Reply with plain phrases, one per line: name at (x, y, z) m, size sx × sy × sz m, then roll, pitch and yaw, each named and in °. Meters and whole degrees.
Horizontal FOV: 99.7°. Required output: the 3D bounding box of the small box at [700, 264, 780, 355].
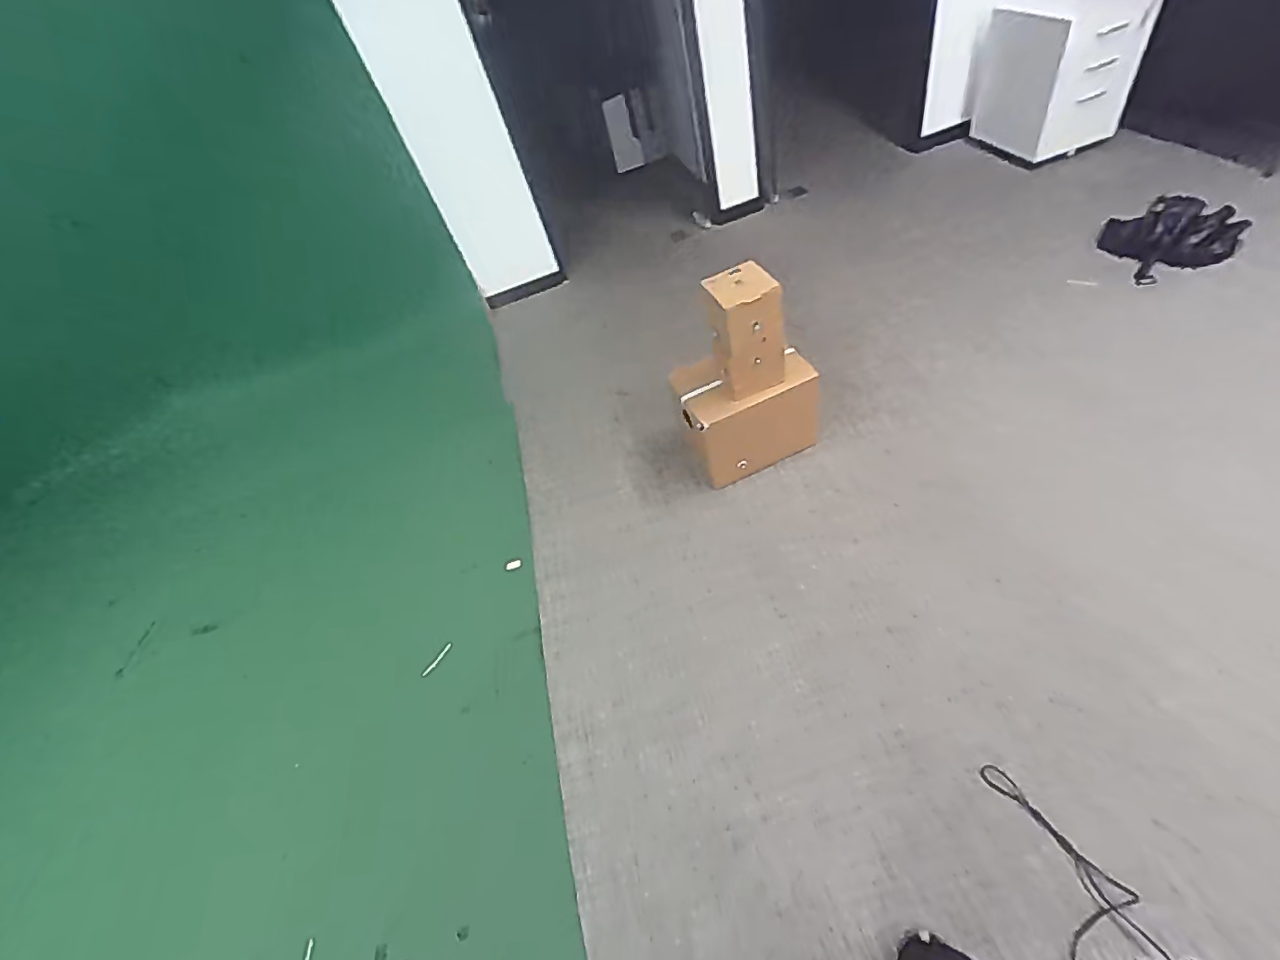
small box at (0.290, -0.480, 1.553) m, size 0.168 × 0.176 × 0.179 m, roll -23°, pitch 49°, yaw -2°

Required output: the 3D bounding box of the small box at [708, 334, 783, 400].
small box at (0.329, -0.374, 1.671) m, size 0.179 × 0.176 × 0.168 m, roll -22°, pitch 48°, yaw -3°
